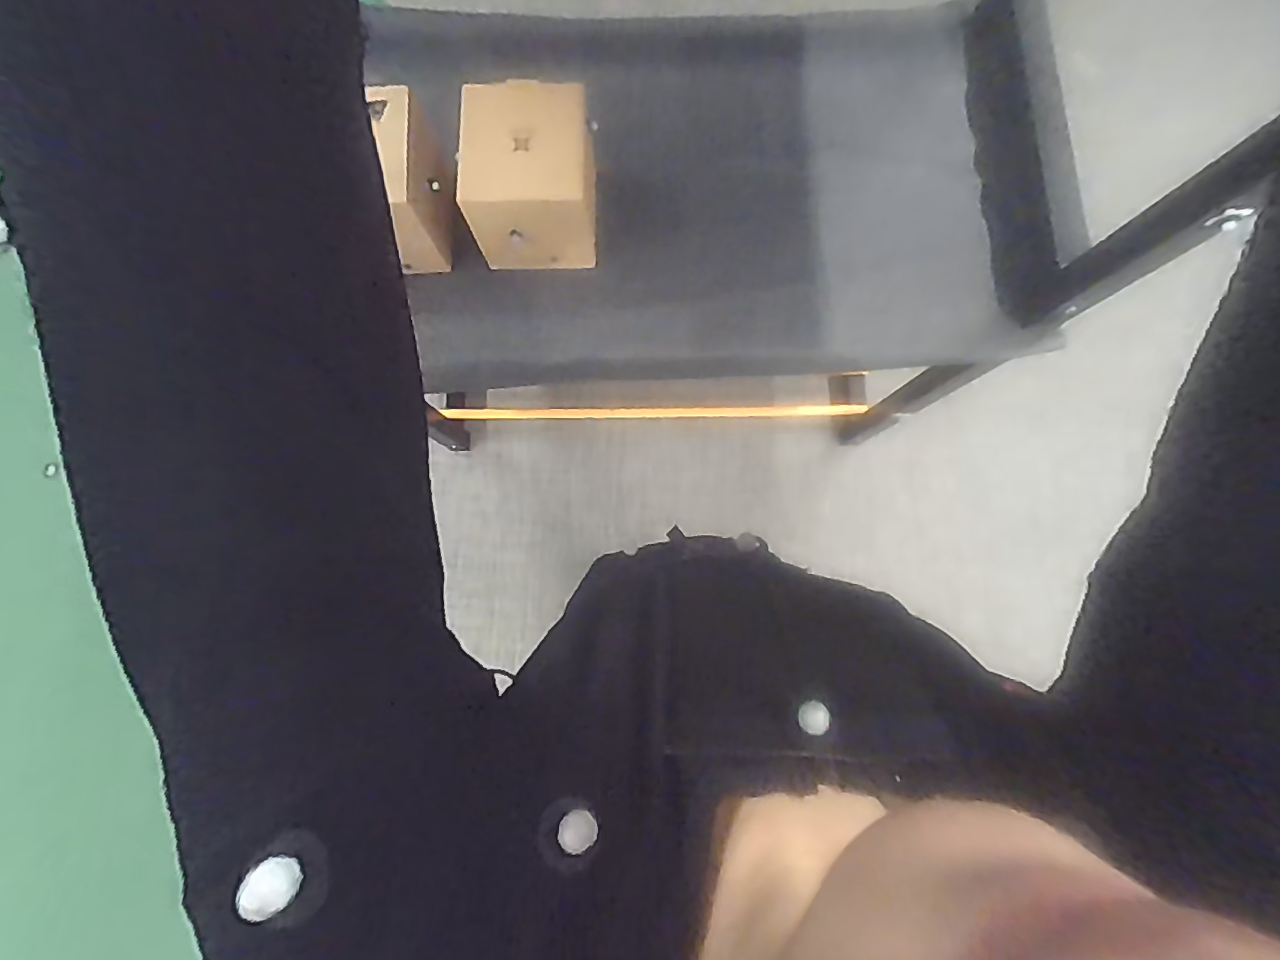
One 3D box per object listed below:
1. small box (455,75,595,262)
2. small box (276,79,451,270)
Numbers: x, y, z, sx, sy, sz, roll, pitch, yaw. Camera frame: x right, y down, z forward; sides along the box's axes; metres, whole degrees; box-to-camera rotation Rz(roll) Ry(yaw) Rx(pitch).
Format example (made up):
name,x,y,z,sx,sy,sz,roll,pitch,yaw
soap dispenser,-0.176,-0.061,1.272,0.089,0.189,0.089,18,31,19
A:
name,x,y,z,sx,sy,sz,roll,pitch,yaw
small box,-0.153,-0.434,0.777,0.168,0.176,0.179,-1,80,0
small box,-0.380,-0.426,0.774,0.168,0.176,0.179,-3,81,0
